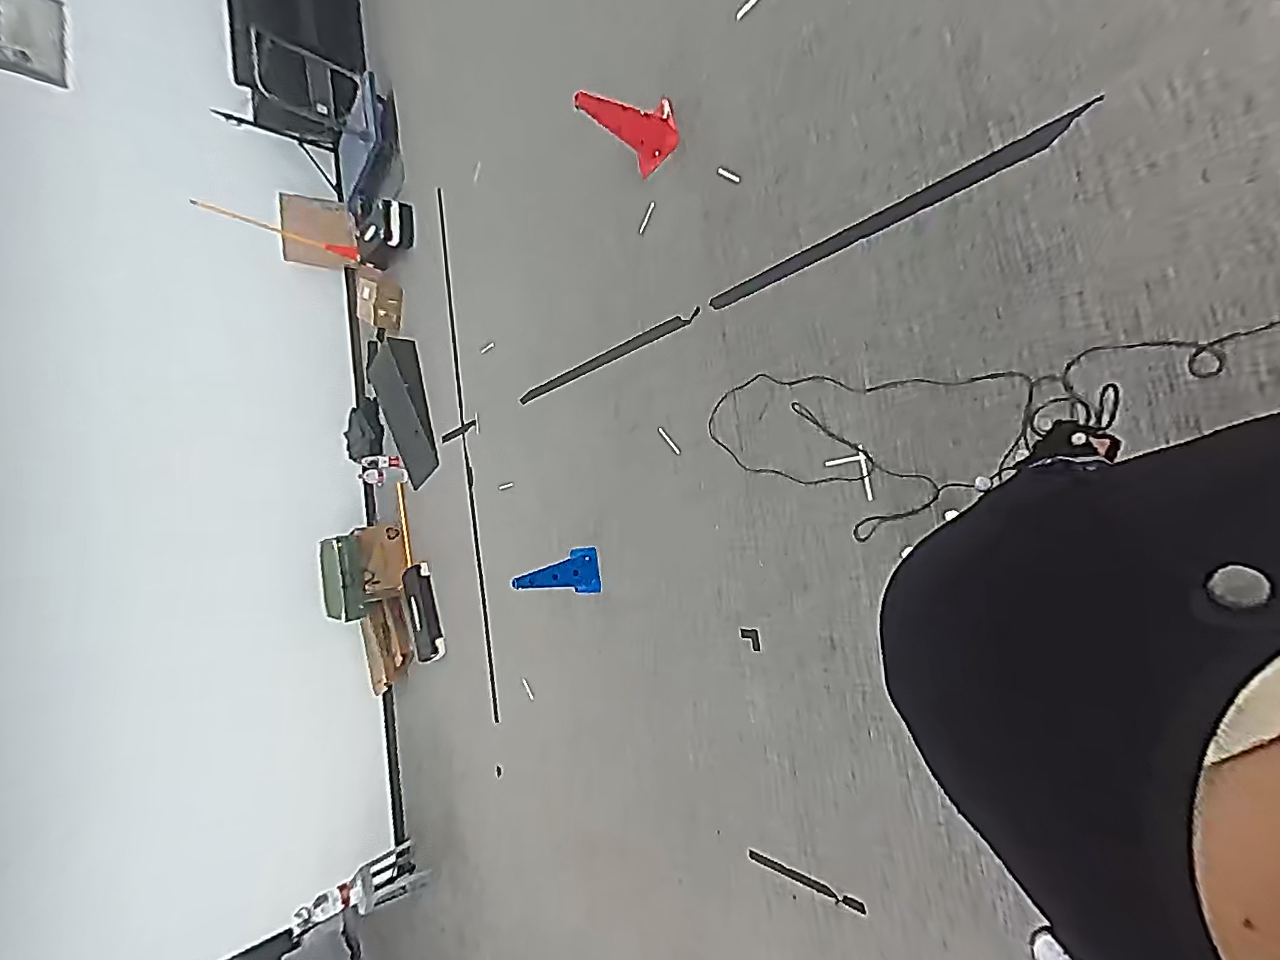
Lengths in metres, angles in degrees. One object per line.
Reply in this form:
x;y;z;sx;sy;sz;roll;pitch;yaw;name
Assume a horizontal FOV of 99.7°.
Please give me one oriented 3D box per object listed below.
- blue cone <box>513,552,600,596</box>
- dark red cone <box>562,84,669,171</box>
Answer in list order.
-0.366;0.429;2.303;0.193;0.380;0.192;-12;85;48;blue cone
-0.097;-1.253;1.857;0.202;0.394;0.201;-24;76;47;dark red cone
